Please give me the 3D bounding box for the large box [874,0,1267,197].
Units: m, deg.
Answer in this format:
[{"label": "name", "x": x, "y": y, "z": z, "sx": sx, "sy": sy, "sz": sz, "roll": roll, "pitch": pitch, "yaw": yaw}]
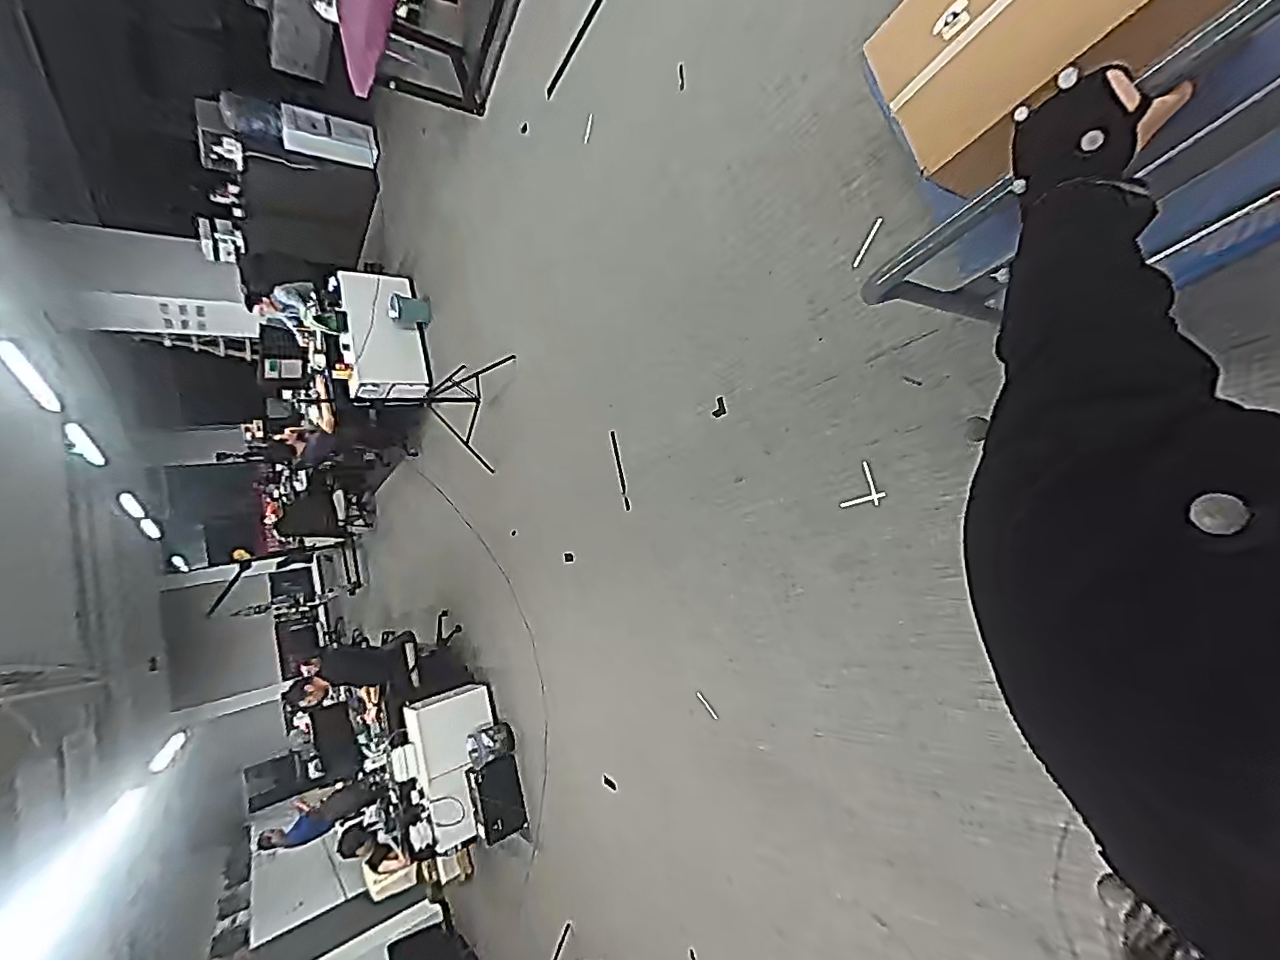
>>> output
[{"label": "large box", "x": 0.715, "y": -0.787, "z": 0.941, "sx": 0.408, "sy": 0.320, "sz": 0.320, "roll": -32, "pitch": 70, "yaw": 52}]
